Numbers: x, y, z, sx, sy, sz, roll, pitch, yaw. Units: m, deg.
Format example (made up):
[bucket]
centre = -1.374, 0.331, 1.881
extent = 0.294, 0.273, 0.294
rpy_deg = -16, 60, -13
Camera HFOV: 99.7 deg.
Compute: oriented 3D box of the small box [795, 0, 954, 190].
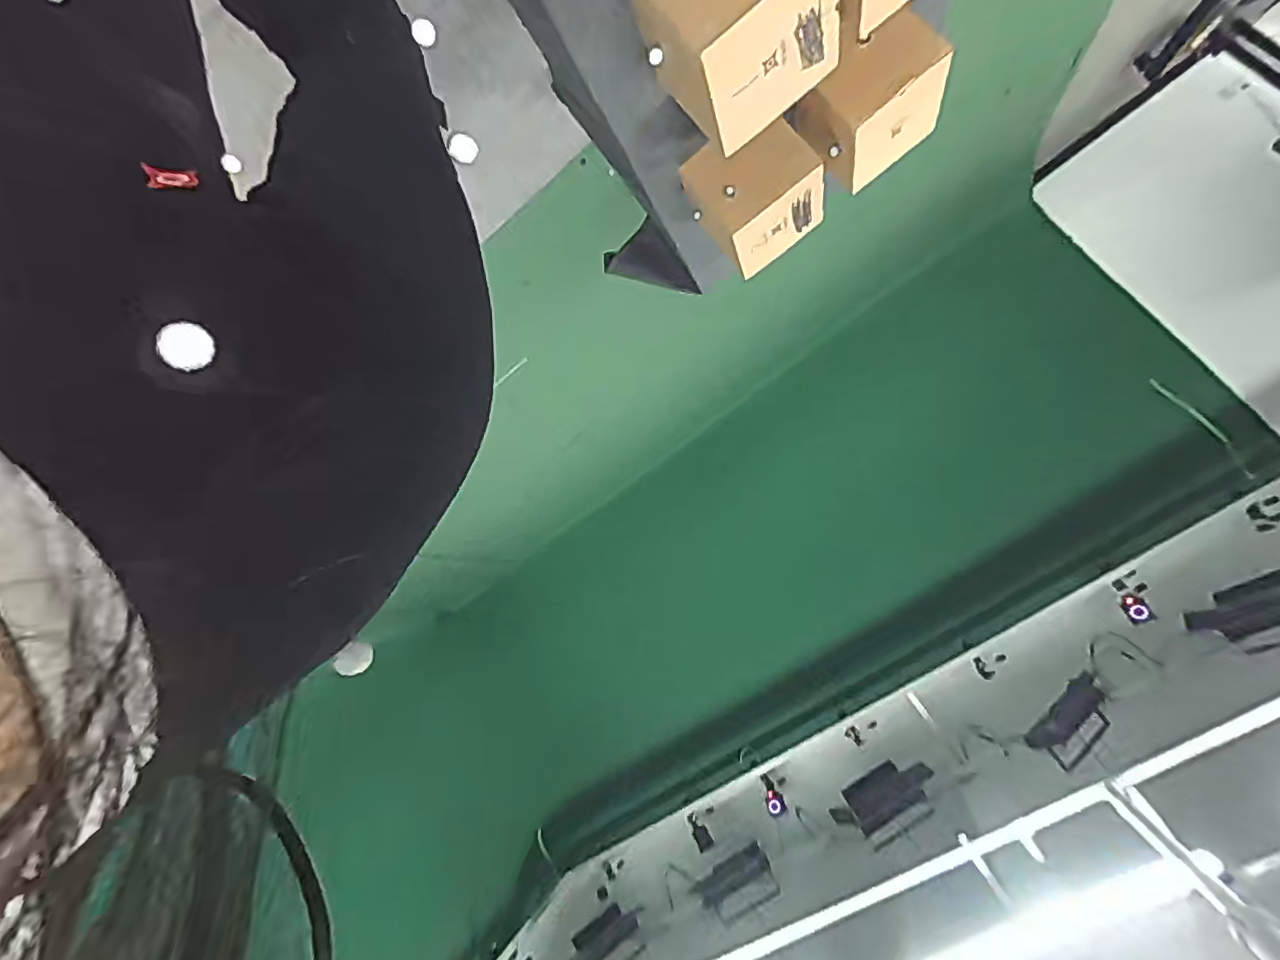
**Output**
[small box]
centre = 0.377, -0.641, 0.898
extent = 0.168, 0.176, 0.179
rpy_deg = -36, 164, 14
